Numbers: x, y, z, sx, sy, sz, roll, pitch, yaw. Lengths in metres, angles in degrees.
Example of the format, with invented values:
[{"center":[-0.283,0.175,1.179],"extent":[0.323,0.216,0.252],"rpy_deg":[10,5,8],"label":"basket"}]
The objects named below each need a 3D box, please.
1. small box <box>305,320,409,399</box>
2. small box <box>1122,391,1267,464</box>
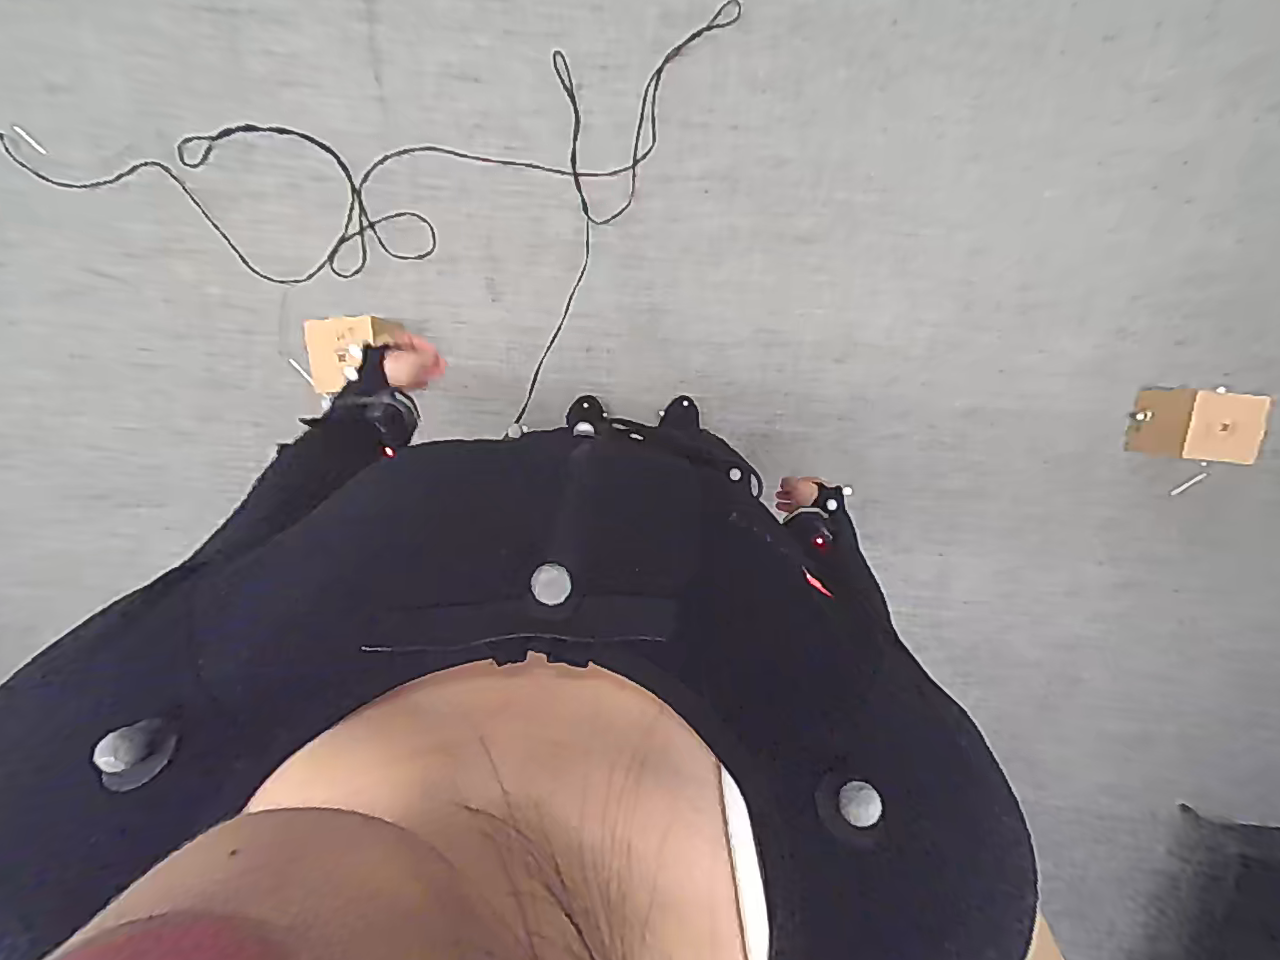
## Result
[{"center":[-0.703,-0.299,1.365],"extent":[0.168,0.176,0.179],"rpy_deg":[-4,99,1],"label":"small box"},{"center":[1.401,-0.137,1.378],"extent":[0.179,0.176,0.168],"rpy_deg":[5,98,1],"label":"small box"}]
